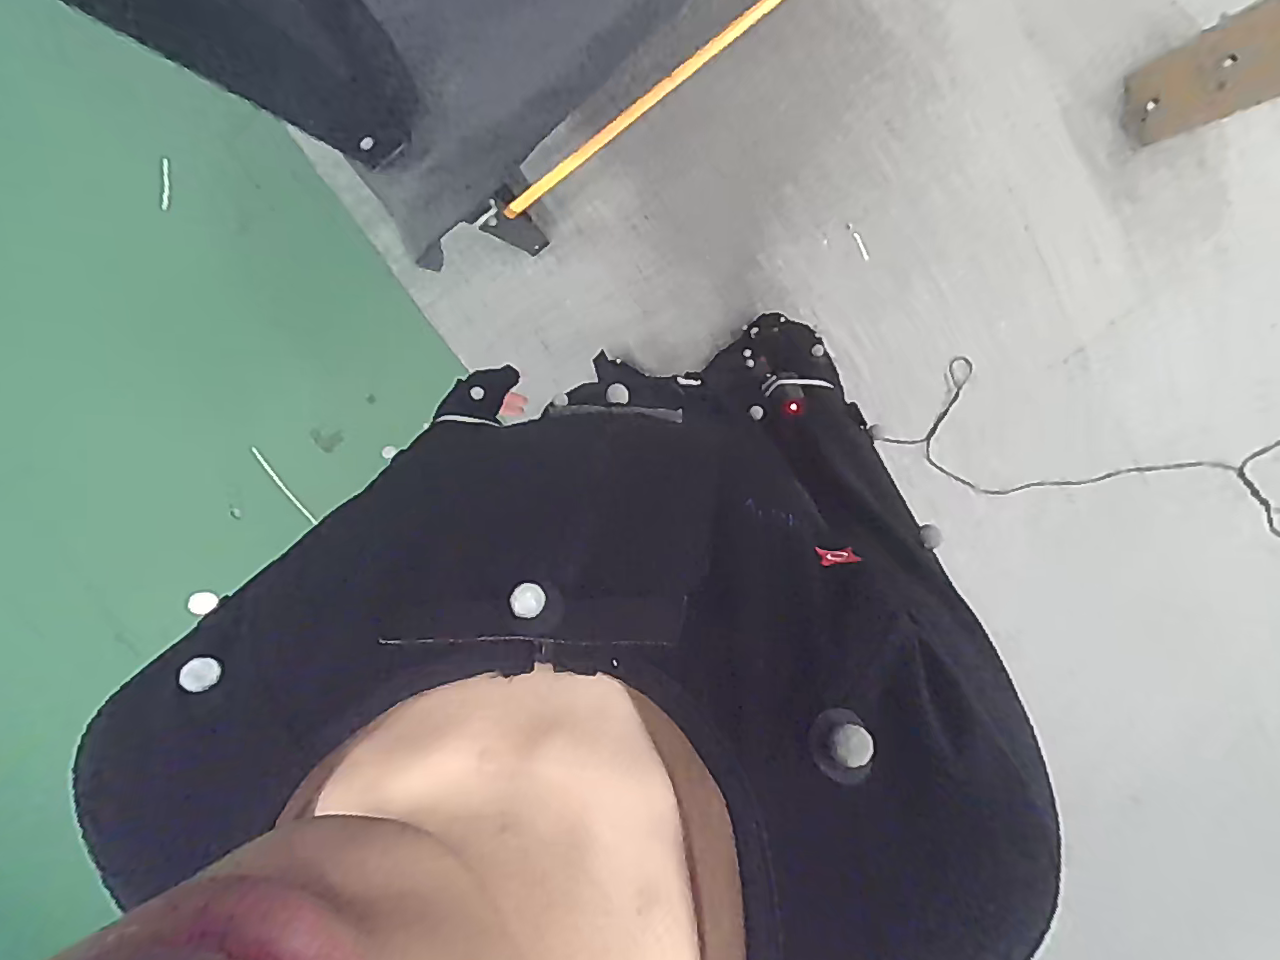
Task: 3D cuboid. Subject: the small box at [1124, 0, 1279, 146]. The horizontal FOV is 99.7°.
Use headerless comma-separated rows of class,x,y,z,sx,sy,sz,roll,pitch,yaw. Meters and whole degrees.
small box,1.174,-0.839,1.119,0.179,0.176,0.168,-28,102,10
